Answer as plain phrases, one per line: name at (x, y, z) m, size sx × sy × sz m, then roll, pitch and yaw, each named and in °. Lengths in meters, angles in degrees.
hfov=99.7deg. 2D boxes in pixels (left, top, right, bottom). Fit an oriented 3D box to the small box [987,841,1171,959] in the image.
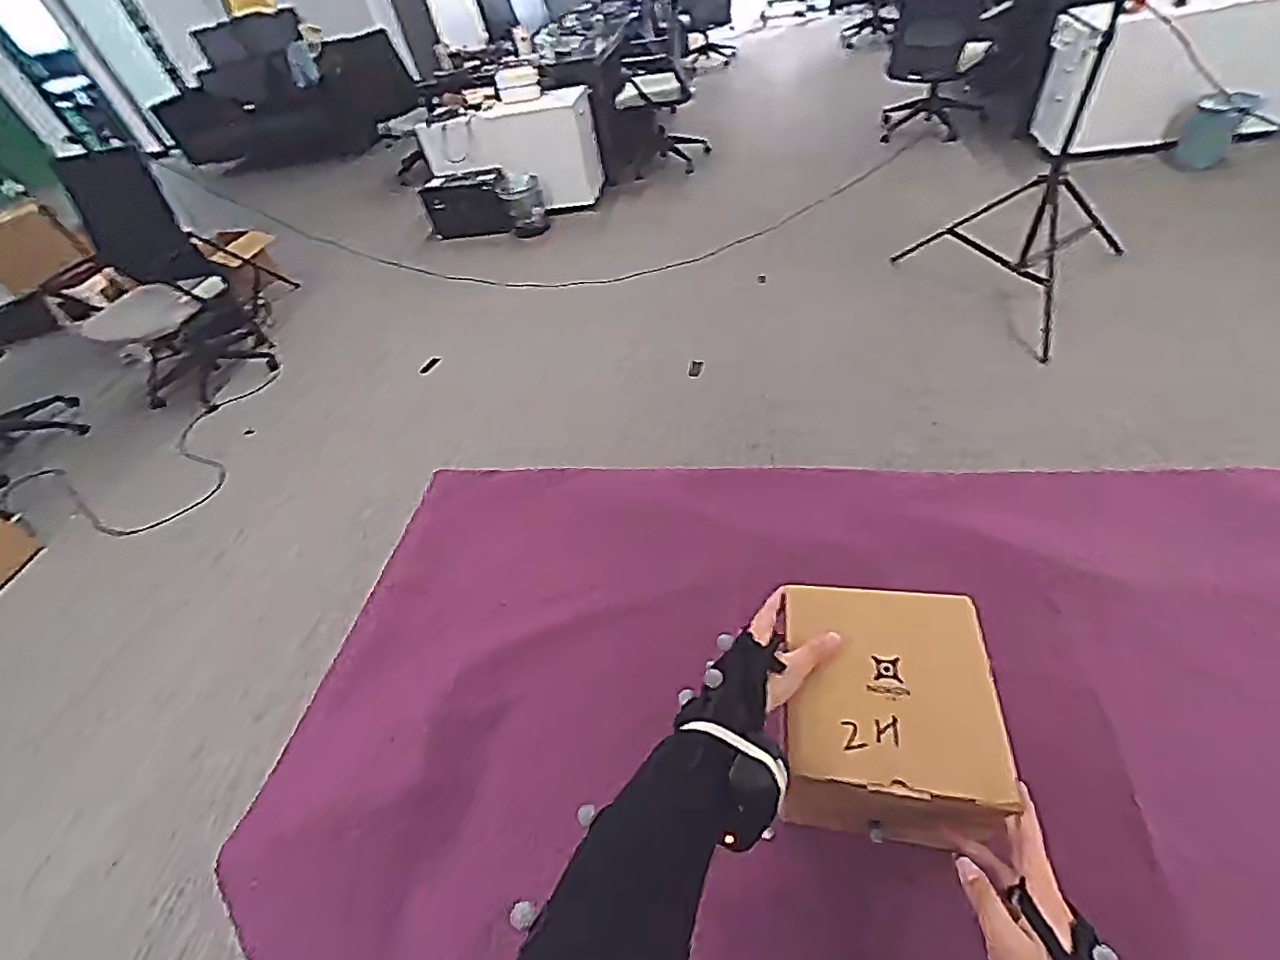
small box at (0.662, 0.684, 0.828) m, size 0.168 × 0.176 × 0.179 m, roll 1°, pitch 48°, yaw 14°
